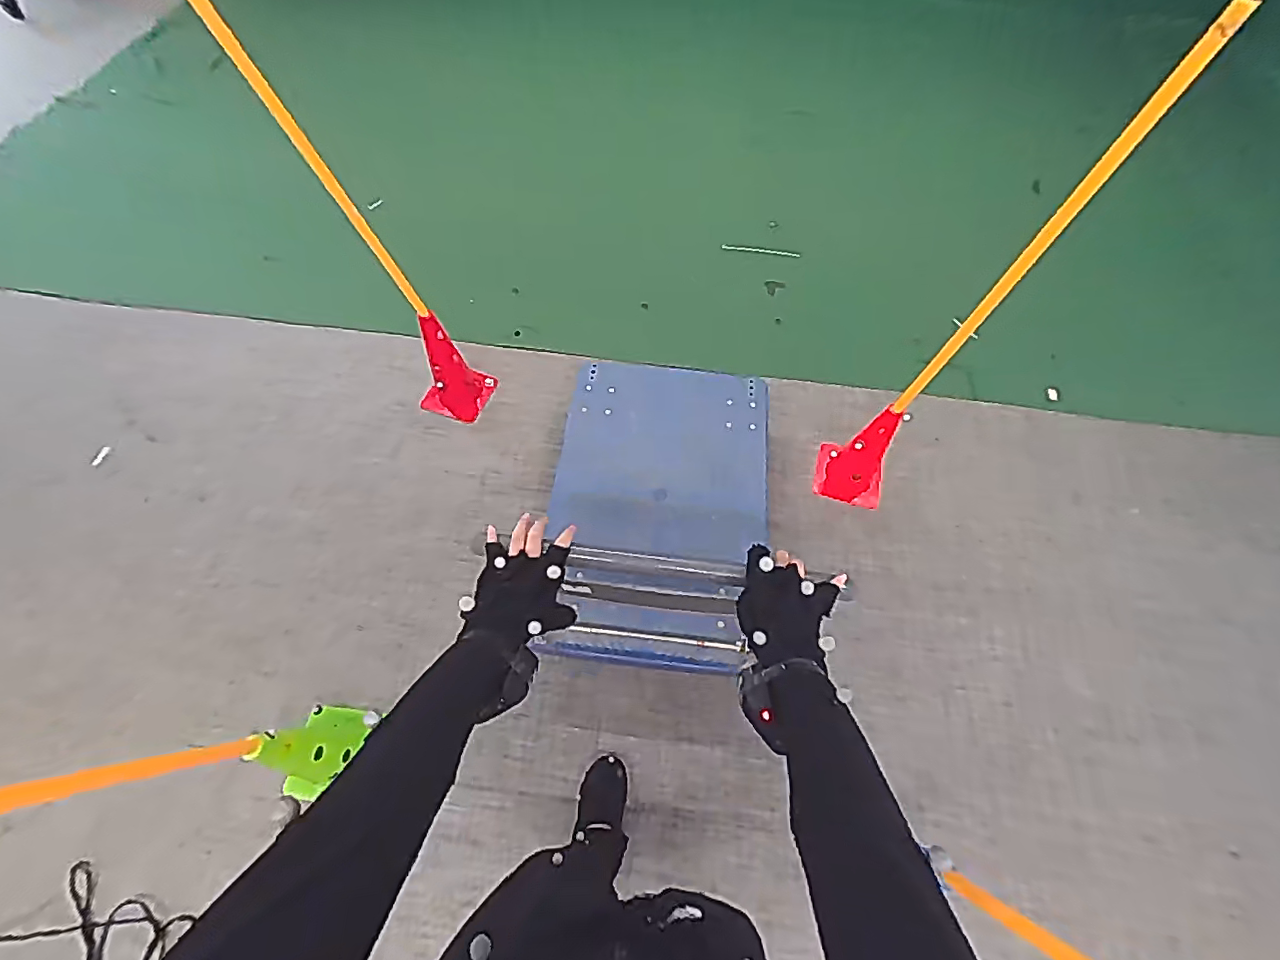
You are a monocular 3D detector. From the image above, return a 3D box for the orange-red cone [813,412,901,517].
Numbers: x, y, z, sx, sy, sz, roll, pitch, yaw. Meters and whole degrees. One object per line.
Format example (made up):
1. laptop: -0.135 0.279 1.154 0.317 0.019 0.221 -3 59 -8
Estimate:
1. orange-red cone: 0.653 -0.072 1.541 0.198 0.360 0.199 16 62 8
